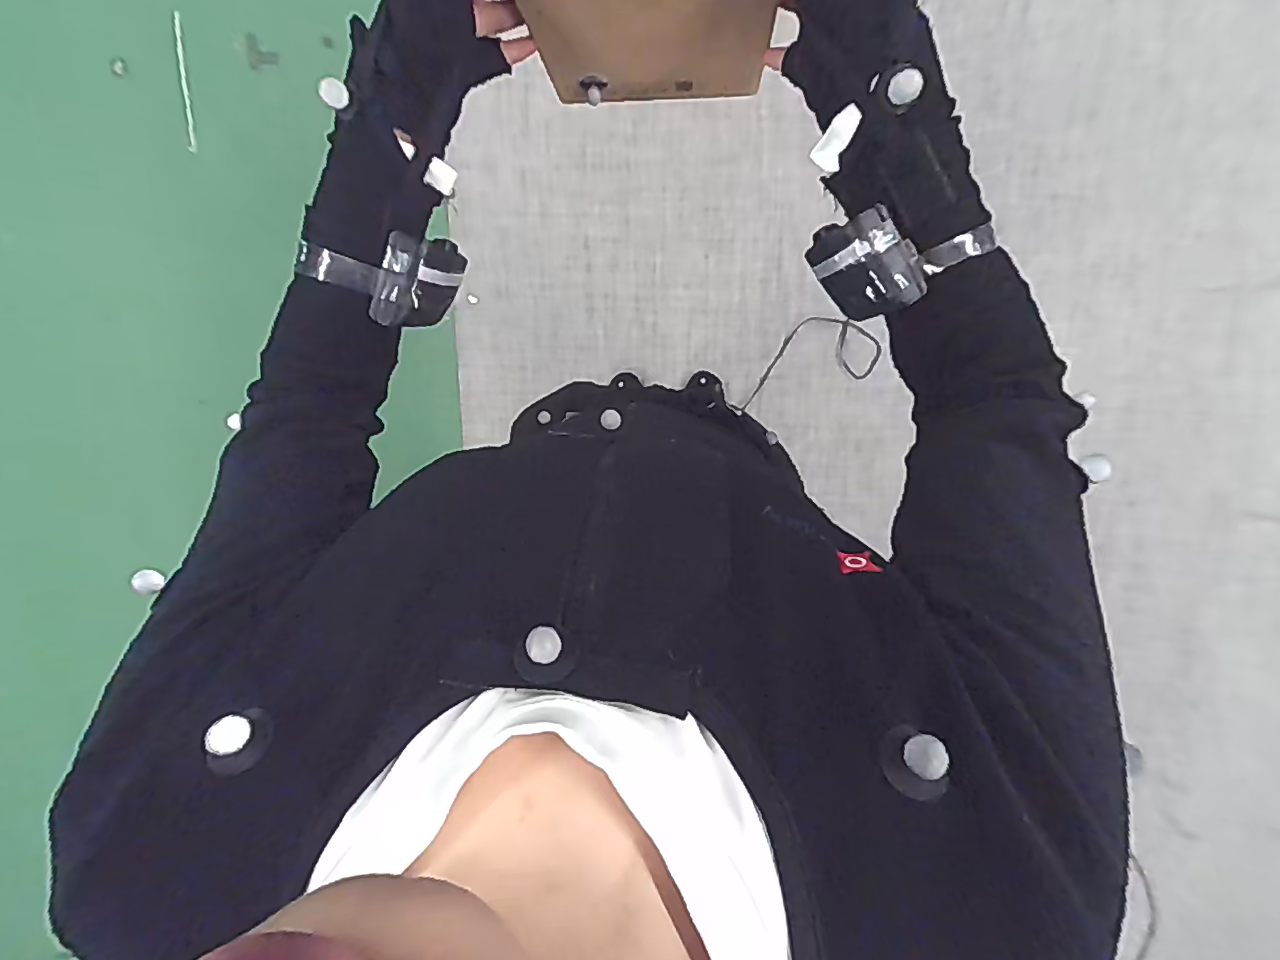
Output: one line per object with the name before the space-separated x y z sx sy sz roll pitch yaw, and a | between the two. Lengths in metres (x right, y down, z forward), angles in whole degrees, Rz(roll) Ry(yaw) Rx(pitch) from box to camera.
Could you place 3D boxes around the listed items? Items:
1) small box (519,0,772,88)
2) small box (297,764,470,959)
small box | 0.007 -0.387 0.351 0.168 0.176 0.179 1 99 5
small box | -0.367 0.560 0.797 0.168 0.176 0.179 13 105 3
